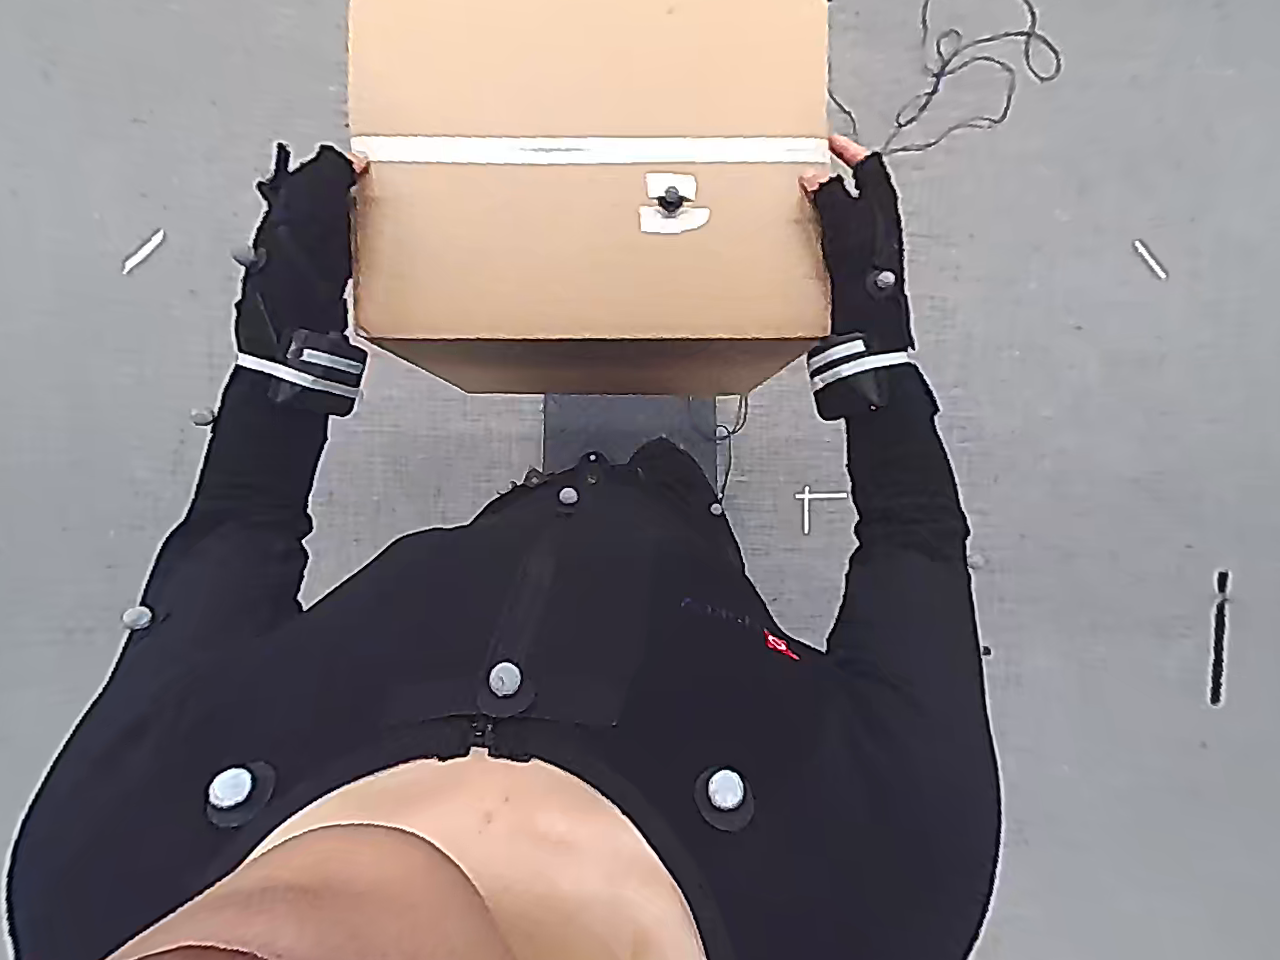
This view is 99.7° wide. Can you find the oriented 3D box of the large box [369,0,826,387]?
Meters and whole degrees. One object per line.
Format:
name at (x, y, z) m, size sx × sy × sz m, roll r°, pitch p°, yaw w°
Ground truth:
large box at (-0.041, -0.289, 0.622) m, size 0.408 × 0.320 × 0.320 m, roll 0°, pitch 91°, yaw -2°
